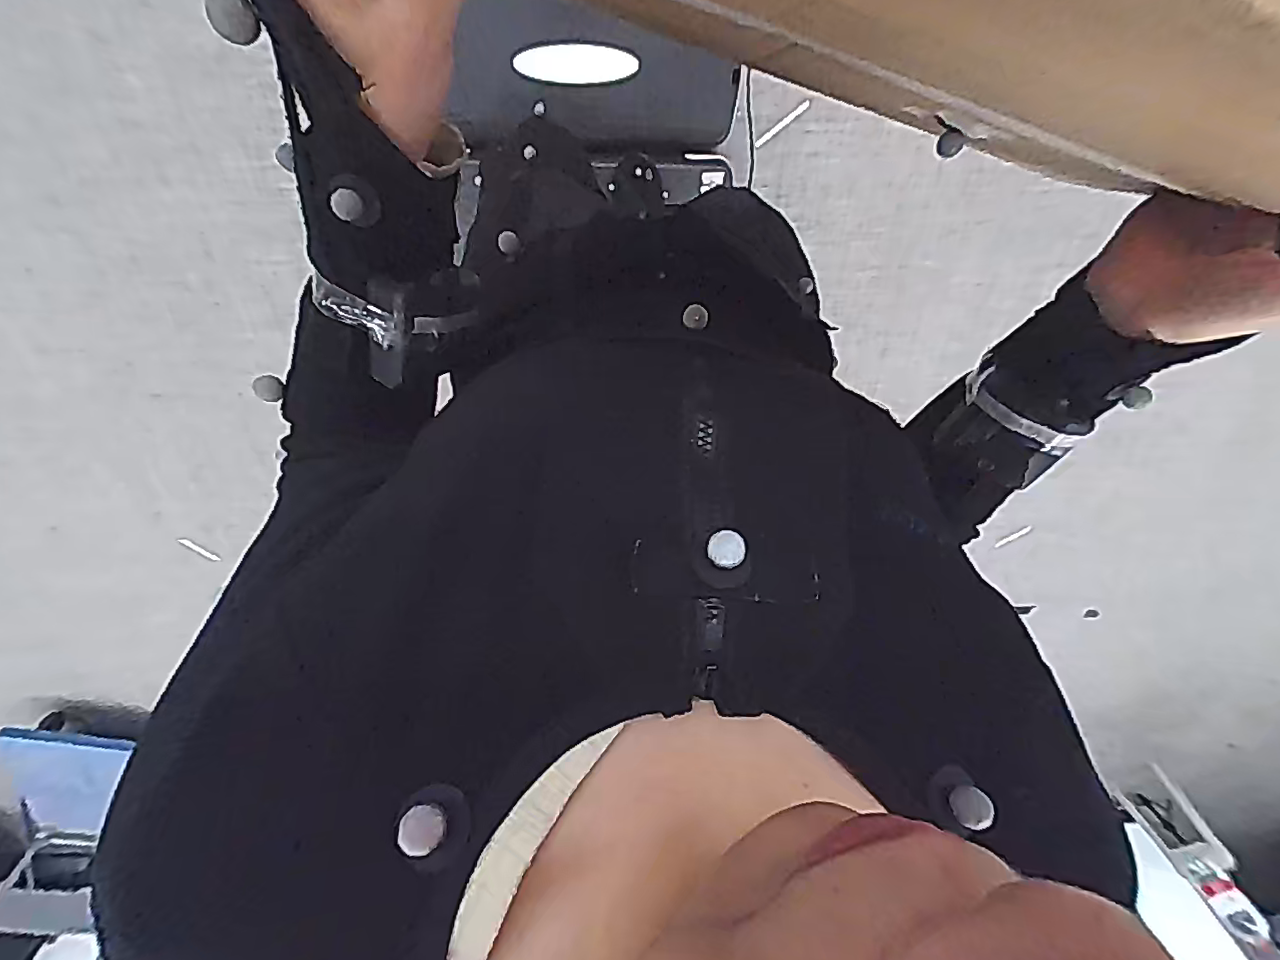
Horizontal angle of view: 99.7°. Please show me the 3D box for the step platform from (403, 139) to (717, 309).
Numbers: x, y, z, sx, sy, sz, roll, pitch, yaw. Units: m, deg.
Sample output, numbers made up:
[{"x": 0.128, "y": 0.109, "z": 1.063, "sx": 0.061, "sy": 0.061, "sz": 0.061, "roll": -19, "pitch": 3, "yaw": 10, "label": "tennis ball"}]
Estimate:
[{"x": -0.169, "y": -0.578, "z": 1.239, "sx": 0.684, "sy": 0.204, "sz": 0.286, "roll": 4, "pitch": 125, "yaw": -5, "label": "step platform"}]

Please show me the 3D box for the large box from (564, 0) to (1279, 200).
[{"x": 0.127, "y": -0.296, "z": 0.134, "sx": 0.408, "sy": 0.320, "sz": 0.320, "roll": 11, "pitch": 125, "yaw": -8, "label": "large box"}]
